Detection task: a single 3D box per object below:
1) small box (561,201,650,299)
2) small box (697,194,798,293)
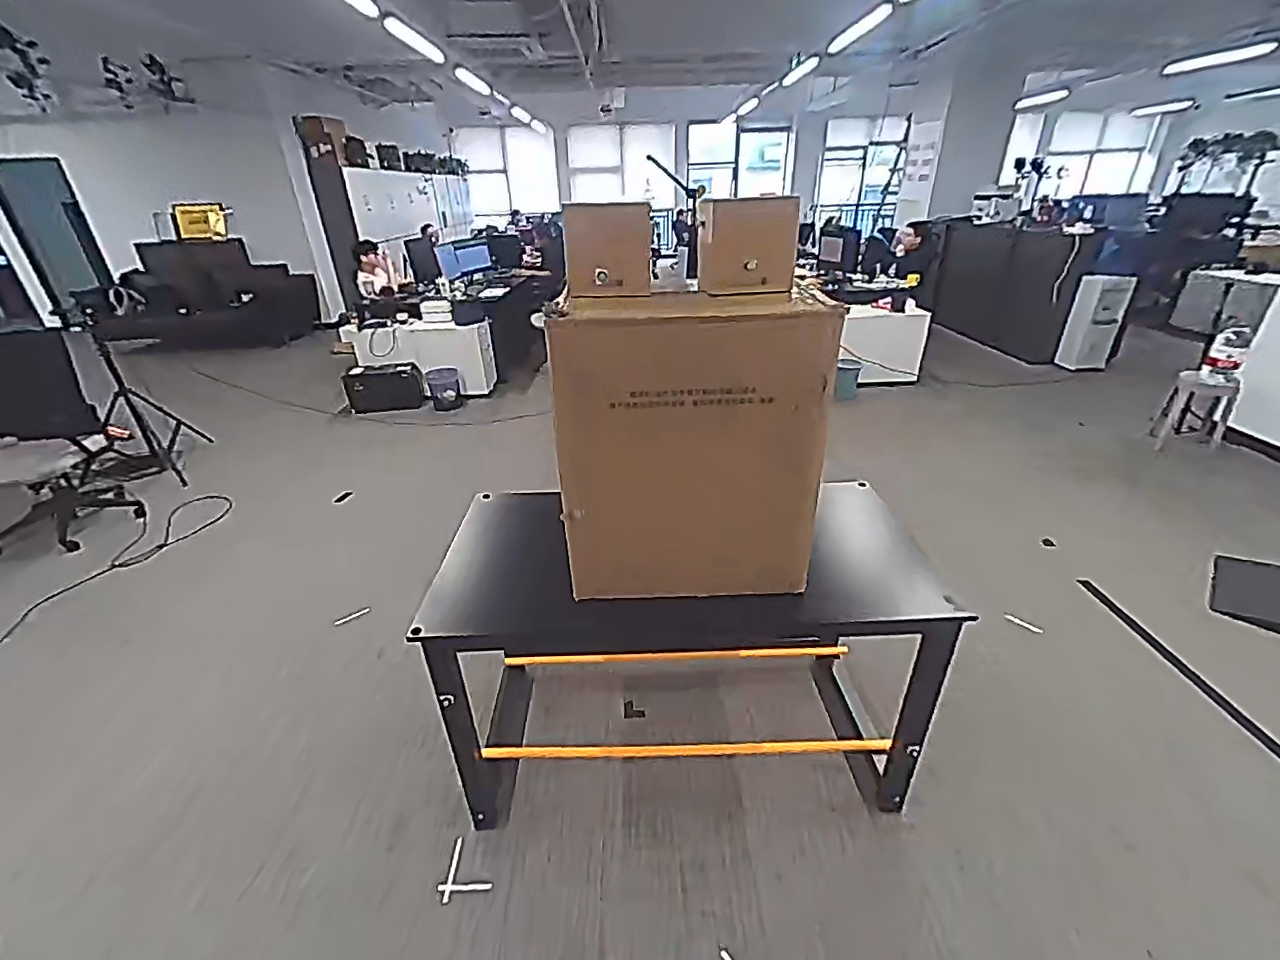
[{"bbox_3d":[-0.066,-0.468,1.098,0.168,0.176,0.179,-3,29,-2],"label":"small box"},{"bbox_3d":[0.206,-0.476,1.089,0.168,0.176,0.179,-4,28,-1],"label":"small box"}]
